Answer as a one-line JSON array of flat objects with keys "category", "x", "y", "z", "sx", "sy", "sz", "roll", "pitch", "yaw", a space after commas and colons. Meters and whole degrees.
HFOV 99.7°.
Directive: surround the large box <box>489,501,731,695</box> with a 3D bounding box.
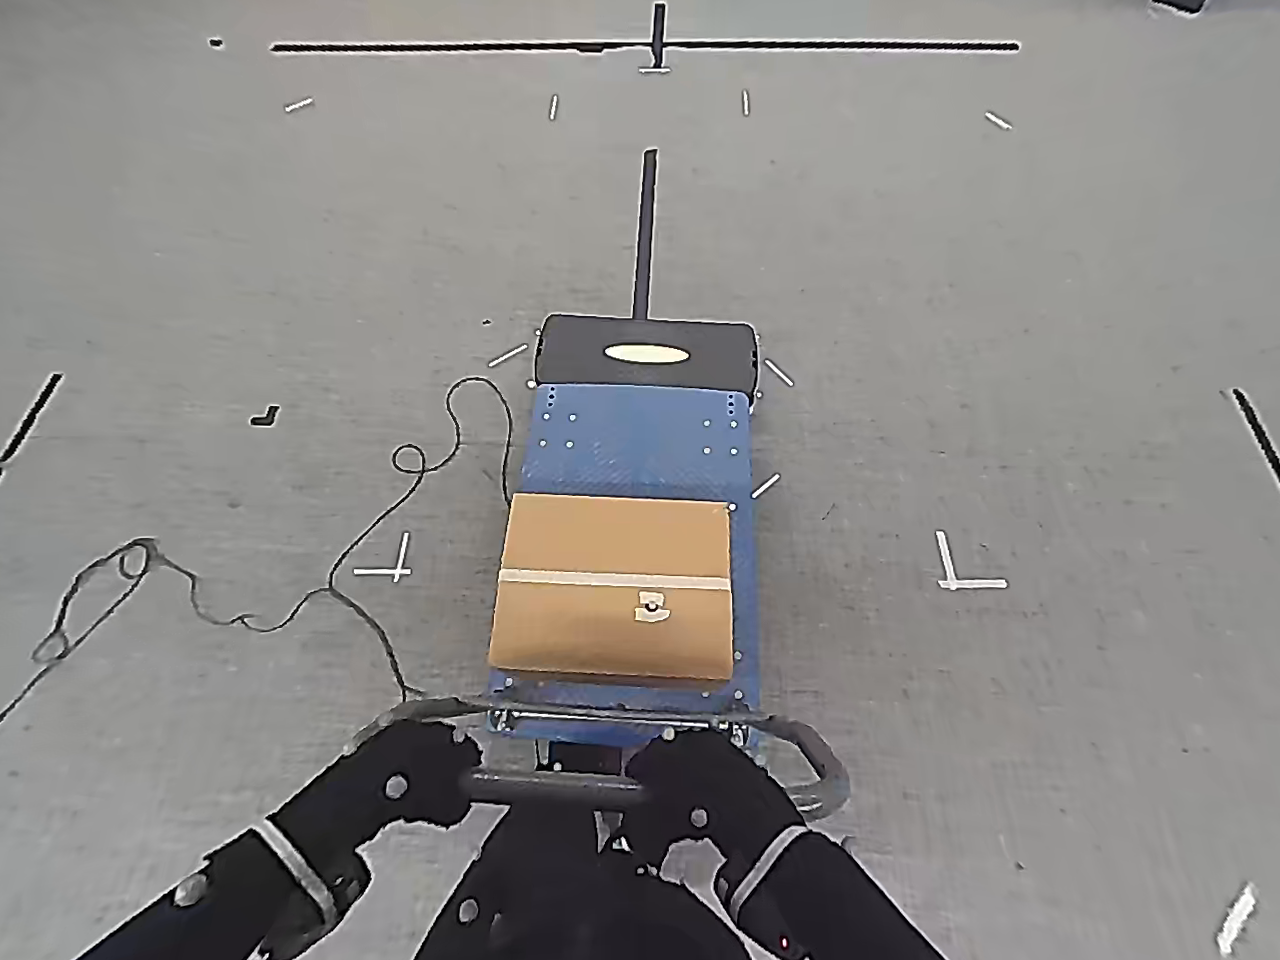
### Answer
[{"category": "large box", "x": -0.048, "y": 0.247, "z": 1.071, "sx": 0.408, "sy": 0.320, "sz": 0.320, "roll": 3, "pitch": 66, "yaw": 1}]
